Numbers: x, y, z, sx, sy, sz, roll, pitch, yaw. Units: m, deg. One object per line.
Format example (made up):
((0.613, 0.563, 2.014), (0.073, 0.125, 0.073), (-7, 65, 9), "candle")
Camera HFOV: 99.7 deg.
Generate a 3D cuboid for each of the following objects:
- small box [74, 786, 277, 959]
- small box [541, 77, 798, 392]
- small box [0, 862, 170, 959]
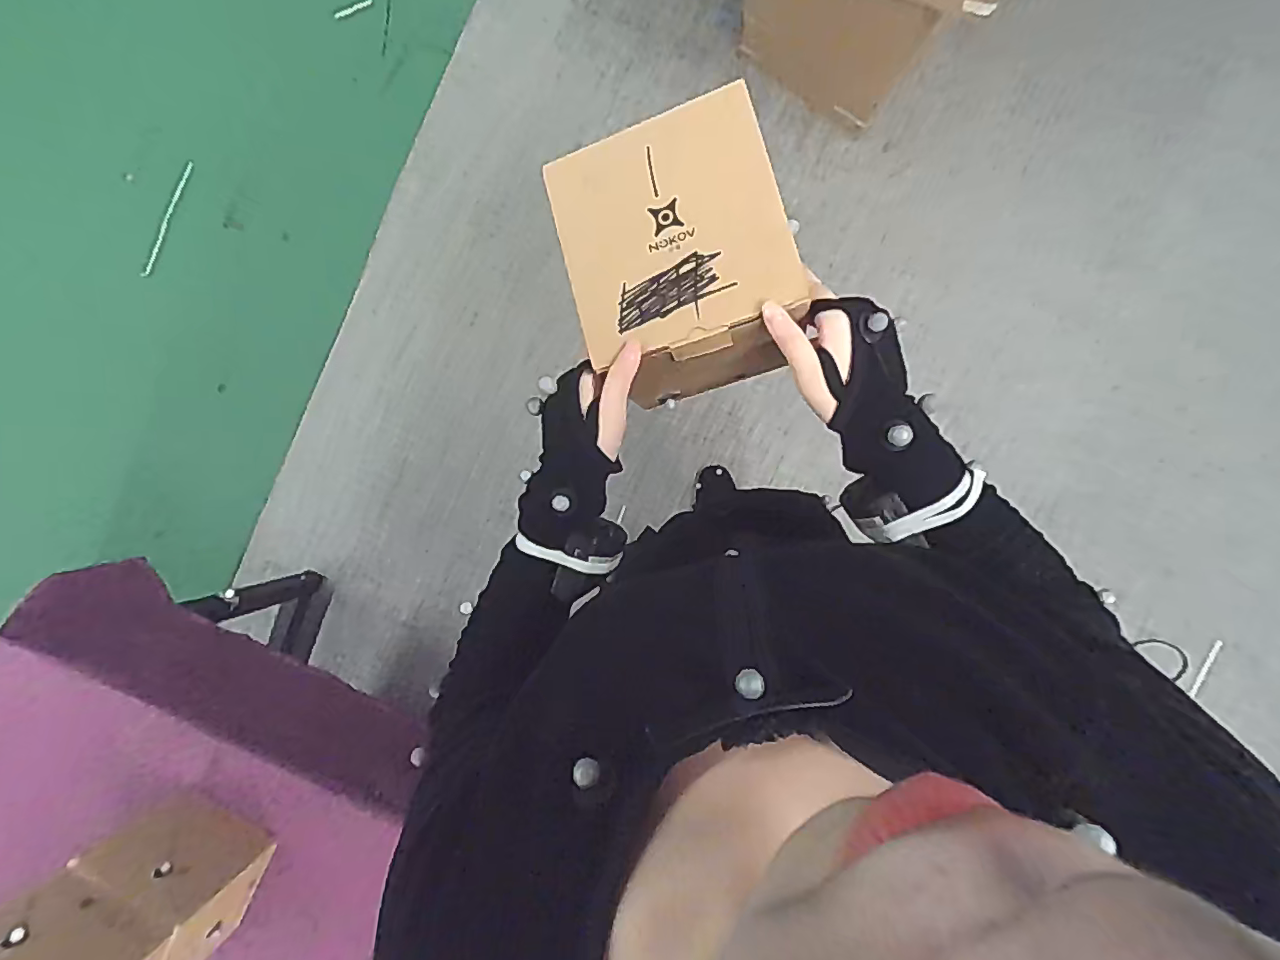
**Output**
((-0.683, 0.591, 0.784), (0.179, 0.176, 0.168), (27, 93, 6), "small box")
((0.037, -0.187, 0.479), (0.168, 0.176, 0.179), (-16, 83, 13), "small box")
((-0.705, 0.600, 0.623), (0.168, 0.176, 0.179), (27, 94, 6), "small box")
